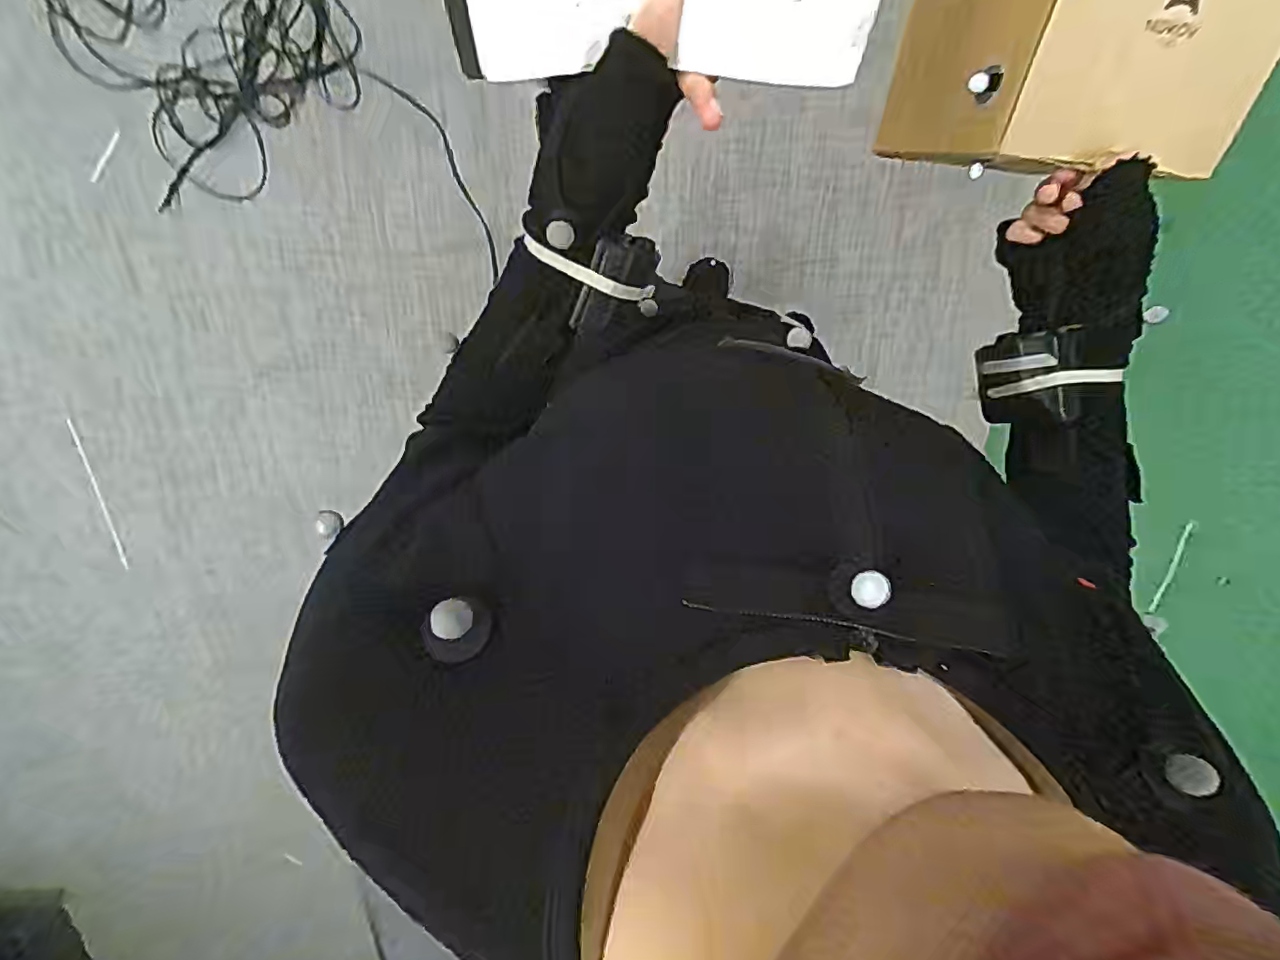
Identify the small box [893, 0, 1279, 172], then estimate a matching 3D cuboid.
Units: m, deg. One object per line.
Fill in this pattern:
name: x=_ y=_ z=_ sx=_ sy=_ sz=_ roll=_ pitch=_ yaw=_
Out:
small box: x=0.310 y=-0.324 z=0.377 sx=0.168 sy=0.176 sz=0.179 roll=0 pitch=122 yaw=-8
